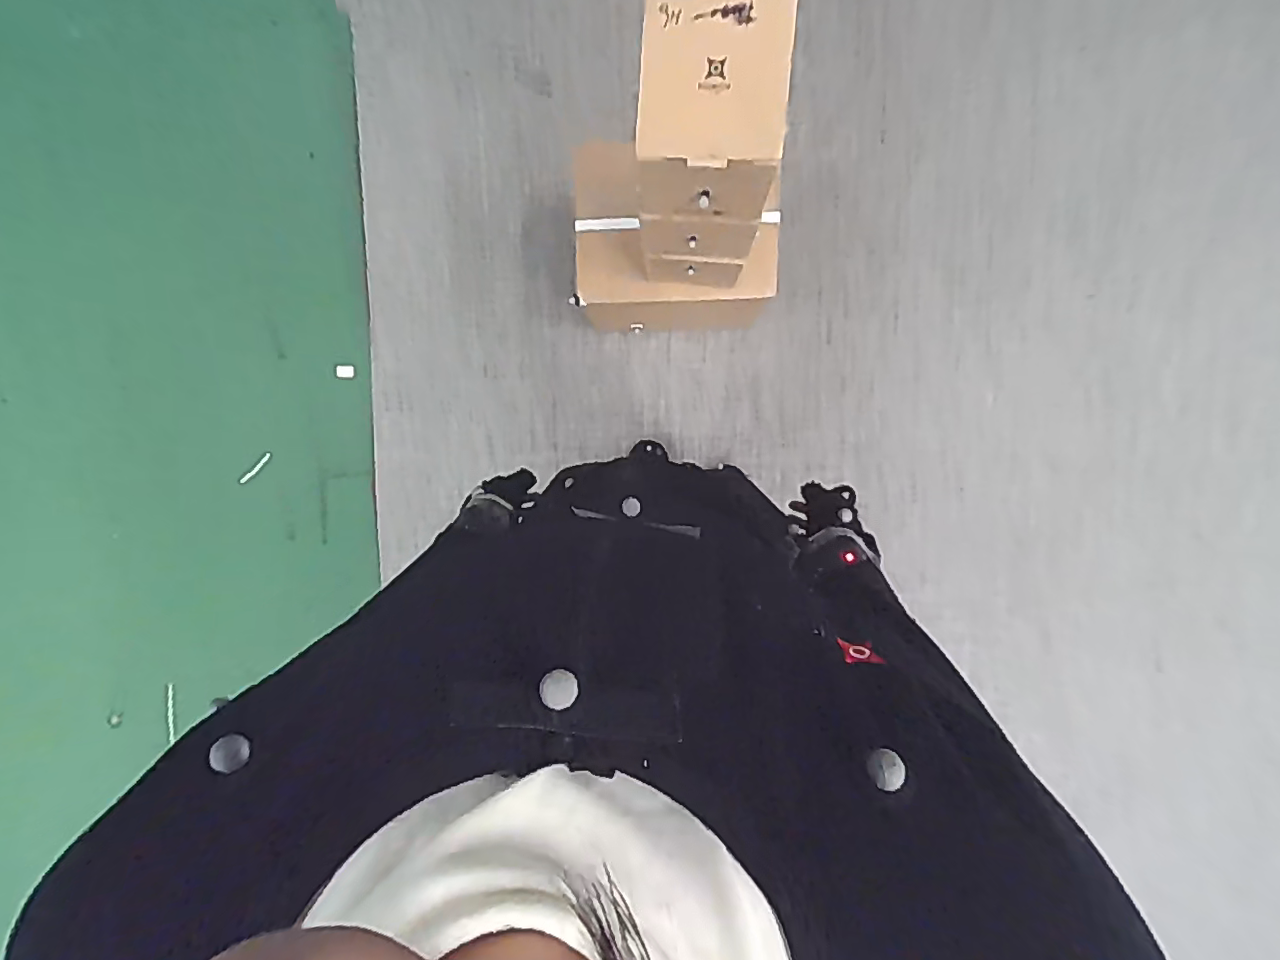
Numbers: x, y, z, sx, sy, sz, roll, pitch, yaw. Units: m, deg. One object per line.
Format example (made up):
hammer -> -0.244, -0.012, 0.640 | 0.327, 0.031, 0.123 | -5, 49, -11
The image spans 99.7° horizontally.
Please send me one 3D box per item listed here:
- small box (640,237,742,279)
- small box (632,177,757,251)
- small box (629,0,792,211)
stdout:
small box -> 0.098, -0.479, 0.998 | 0.179, 0.176, 0.168 | 5, 98, 2
small box -> 0.090, -0.464, 0.836 | 0.179, 0.176, 0.168 | 6, 97, 6
small box -> 0.082, -0.454, 0.672 | 0.168, 0.176, 0.179 | 5, 98, 4
